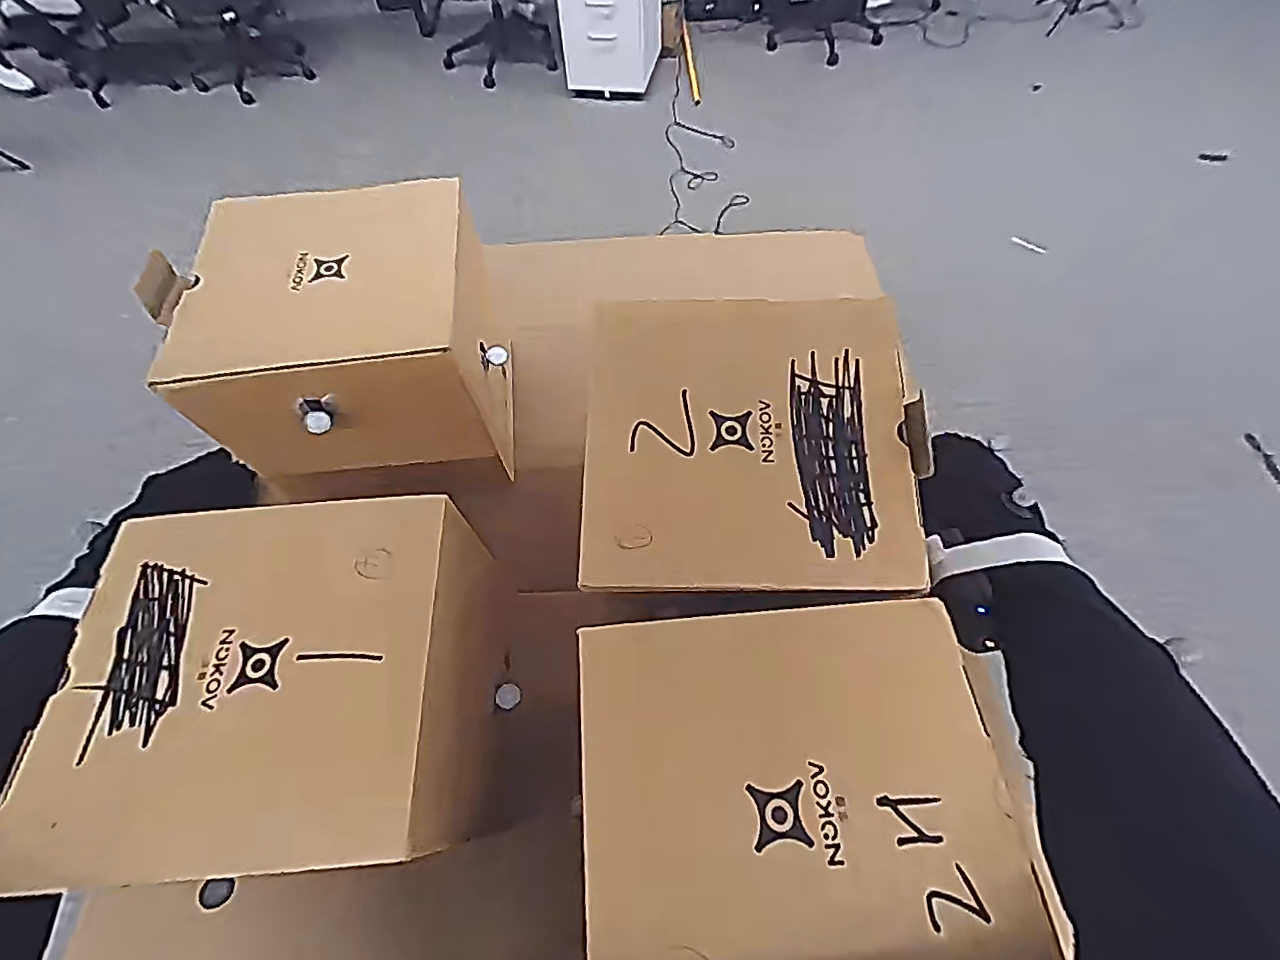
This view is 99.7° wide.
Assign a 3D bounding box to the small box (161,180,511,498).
[{"bbox_3d":[-0.205,-0.101,0.429,0.179,0.176,0.168,-8,61,-1],"label":"small box"}]
